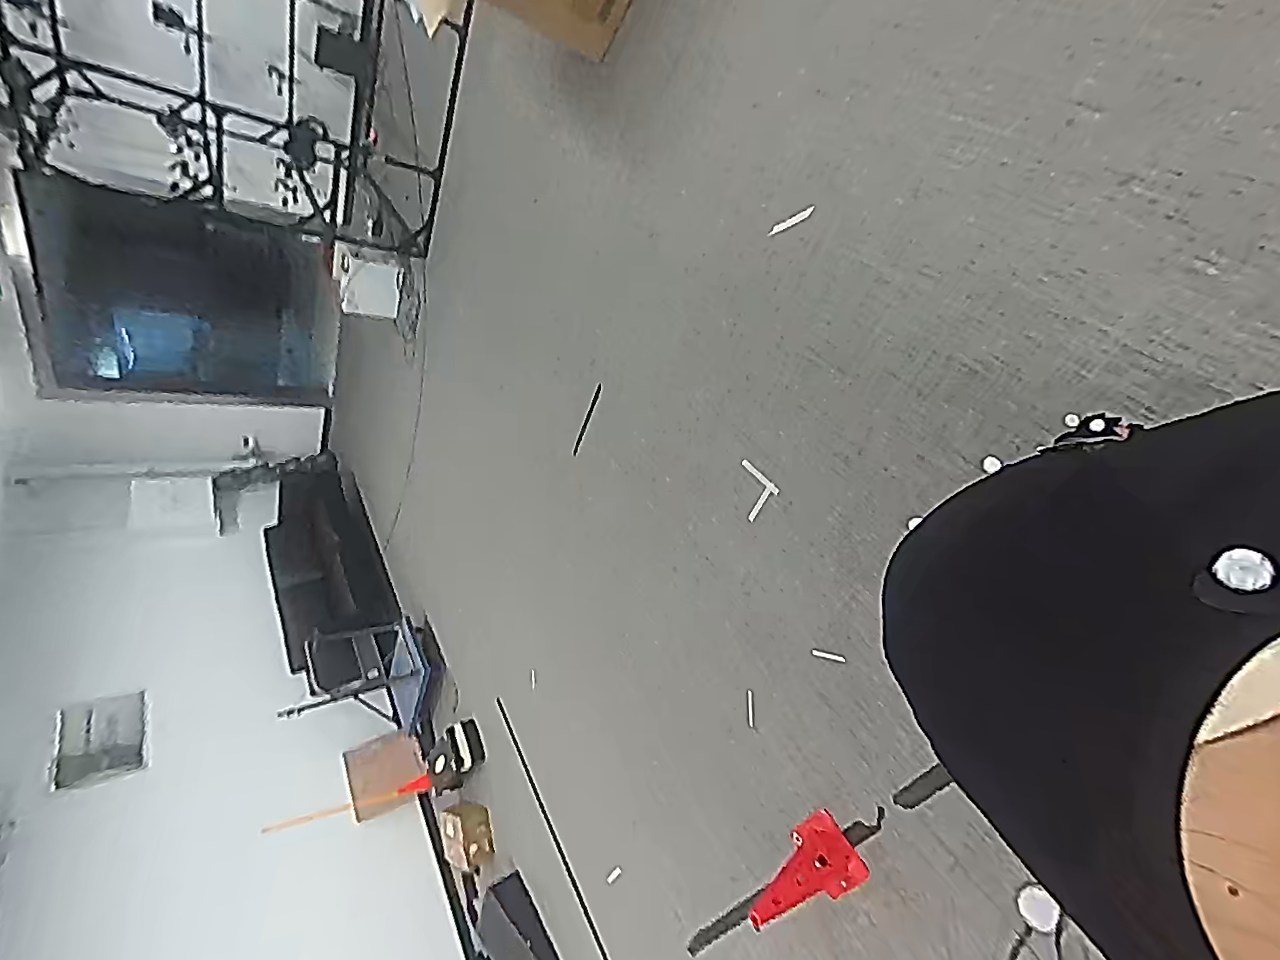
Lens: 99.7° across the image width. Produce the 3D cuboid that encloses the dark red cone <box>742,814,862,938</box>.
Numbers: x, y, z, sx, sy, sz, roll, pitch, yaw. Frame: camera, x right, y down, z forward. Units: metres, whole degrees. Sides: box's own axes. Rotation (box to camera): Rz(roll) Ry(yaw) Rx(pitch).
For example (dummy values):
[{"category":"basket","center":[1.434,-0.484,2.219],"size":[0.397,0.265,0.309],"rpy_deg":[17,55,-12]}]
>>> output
[{"category":"dark red cone","center":[0.416,1.137,1.503],"size":[0.201,0.394,0.202],"rpy_deg":[50,128,34]}]
